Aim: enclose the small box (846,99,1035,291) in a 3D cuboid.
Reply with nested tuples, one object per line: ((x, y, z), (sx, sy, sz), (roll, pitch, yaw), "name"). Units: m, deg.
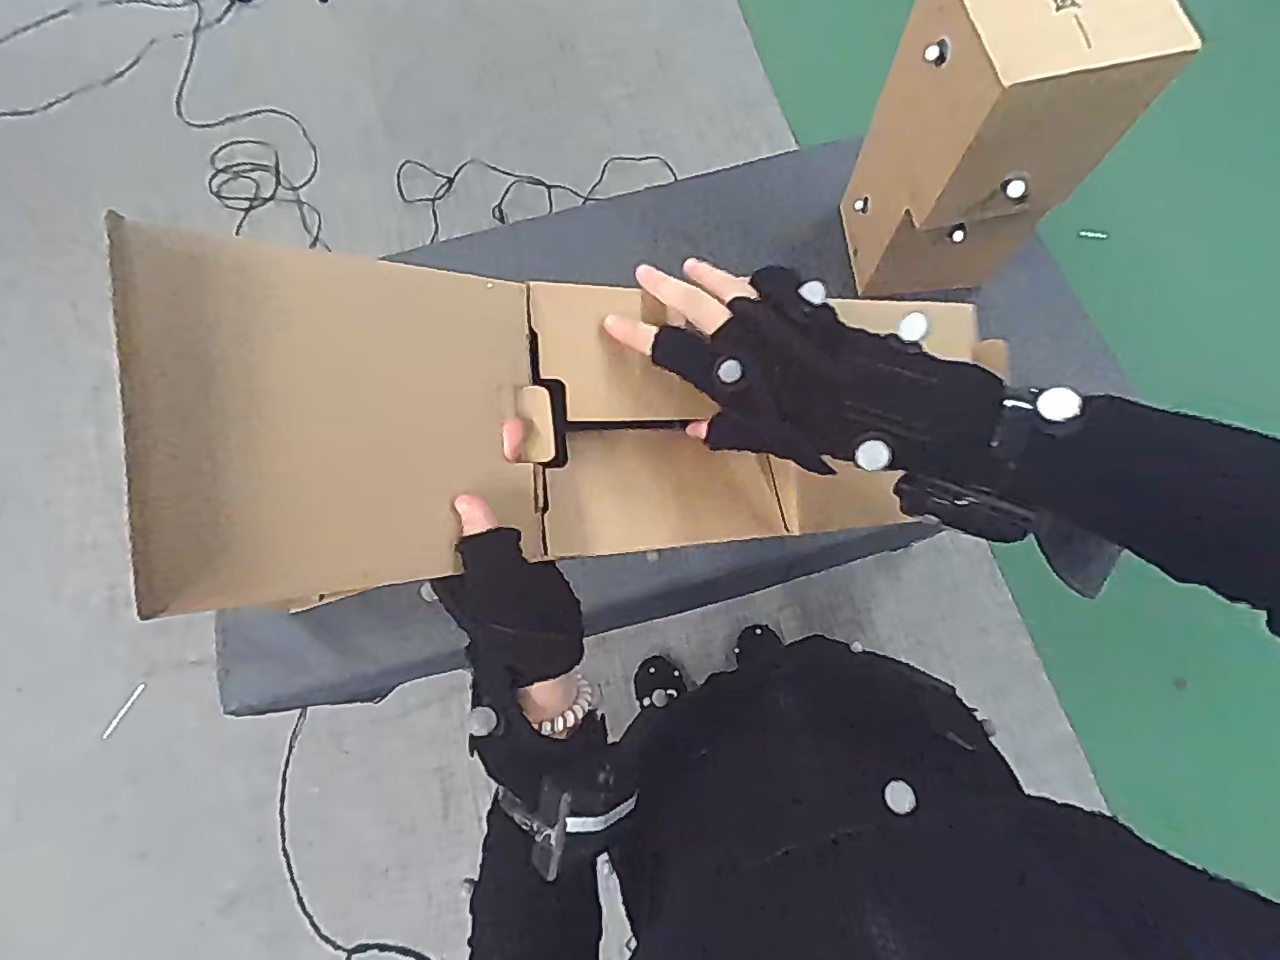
((0.382, -0.365, 0.703), (0.179, 0.176, 0.168), (-4, 74, 2), "small box")

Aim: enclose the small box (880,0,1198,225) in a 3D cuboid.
((0.366, -0.394, 0.541), (0.168, 0.176, 0.179), (-10, 74, 1), "small box")
